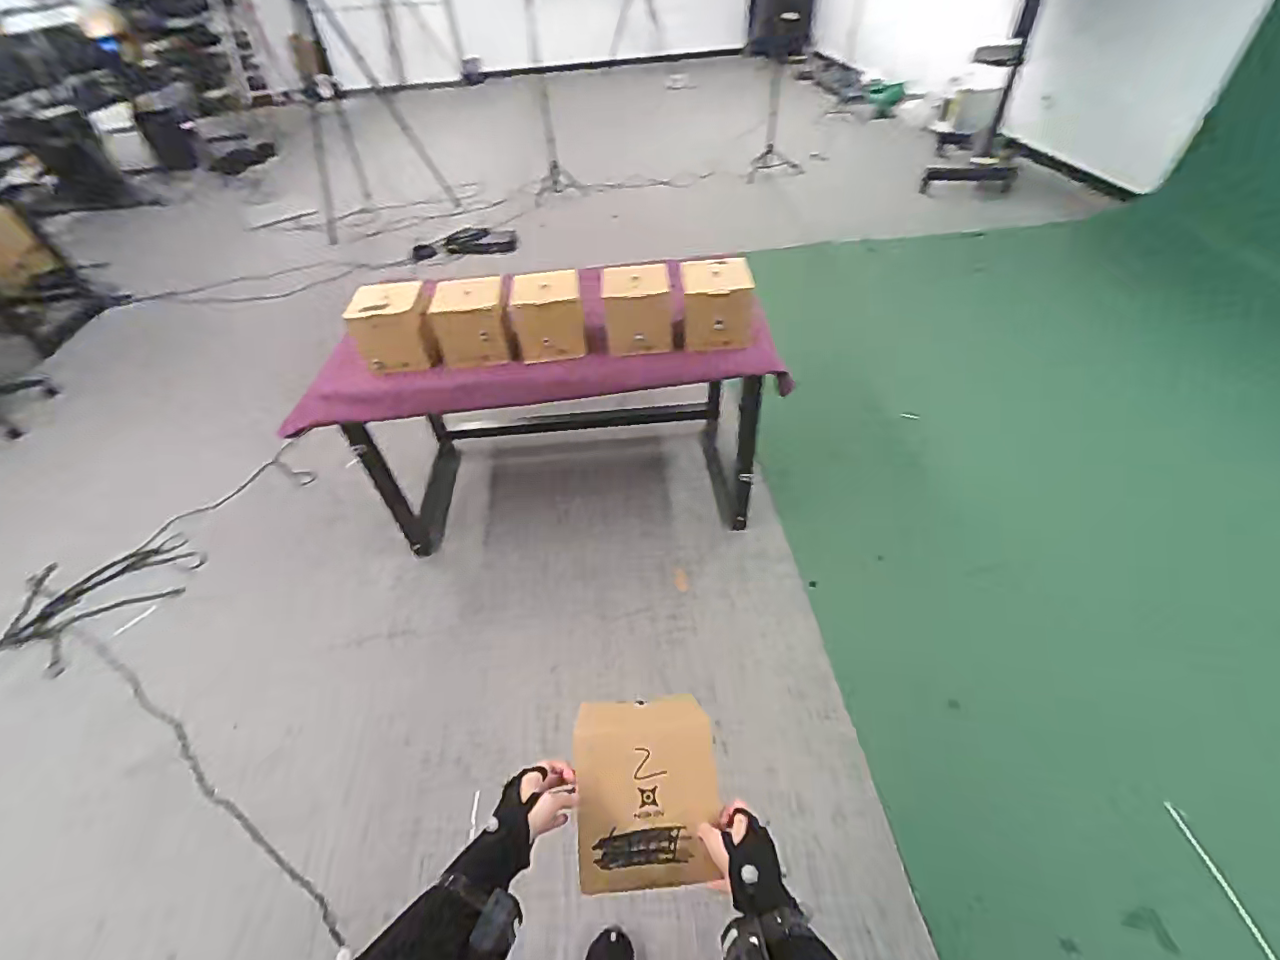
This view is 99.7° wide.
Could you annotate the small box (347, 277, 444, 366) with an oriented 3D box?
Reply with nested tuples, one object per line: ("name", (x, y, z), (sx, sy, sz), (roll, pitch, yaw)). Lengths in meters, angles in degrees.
("small box", (-0.637, -0.415, 1.435), (0.168, 0.176, 0.179), (-6, 45, -1))
